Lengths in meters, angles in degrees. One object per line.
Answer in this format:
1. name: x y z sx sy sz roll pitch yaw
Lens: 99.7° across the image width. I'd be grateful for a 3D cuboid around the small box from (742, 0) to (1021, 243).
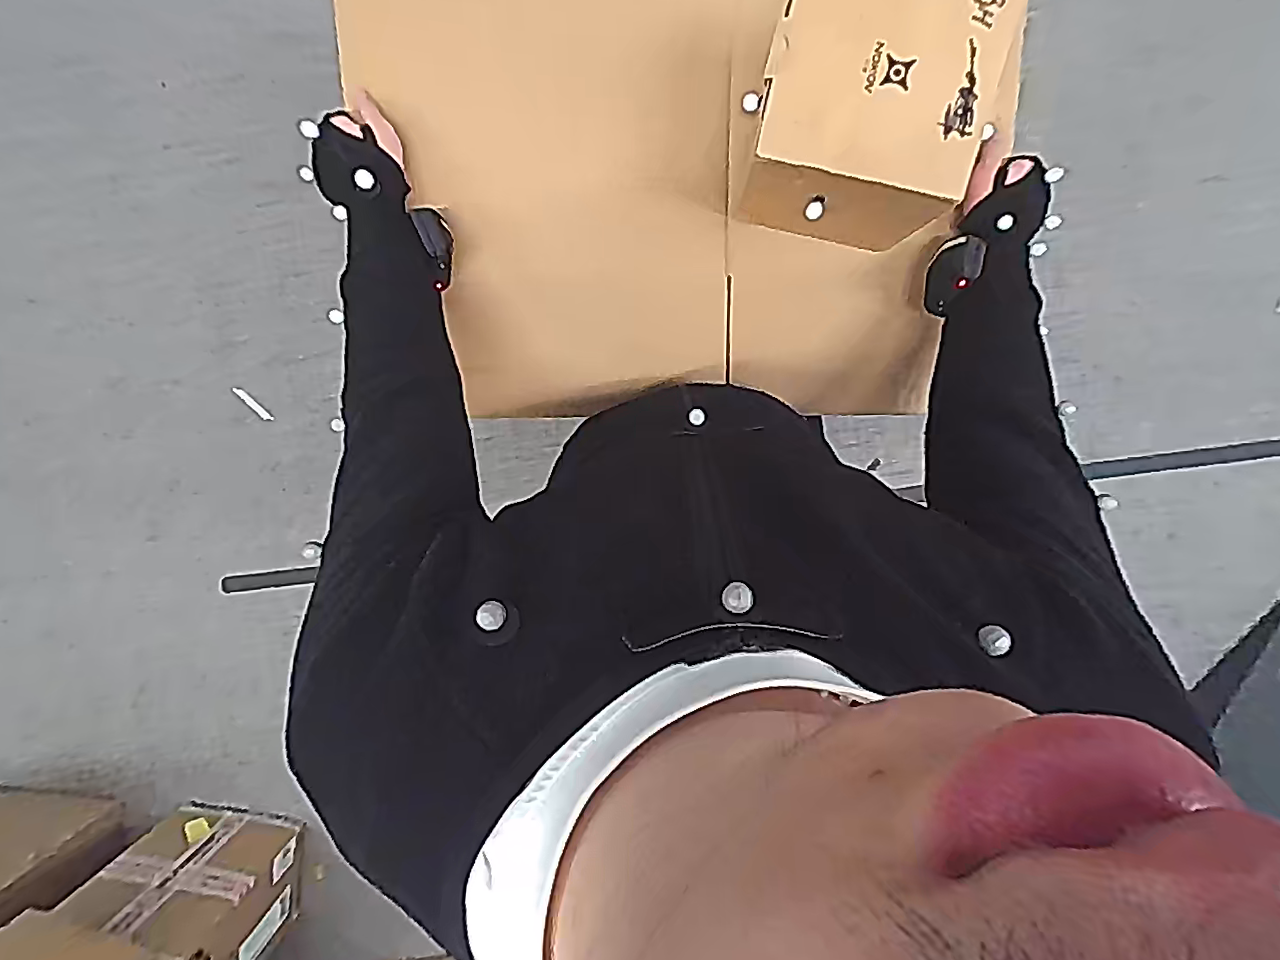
1. small box: 0.203 -0.342 0.511 0.179 0.176 0.168 13 100 3
